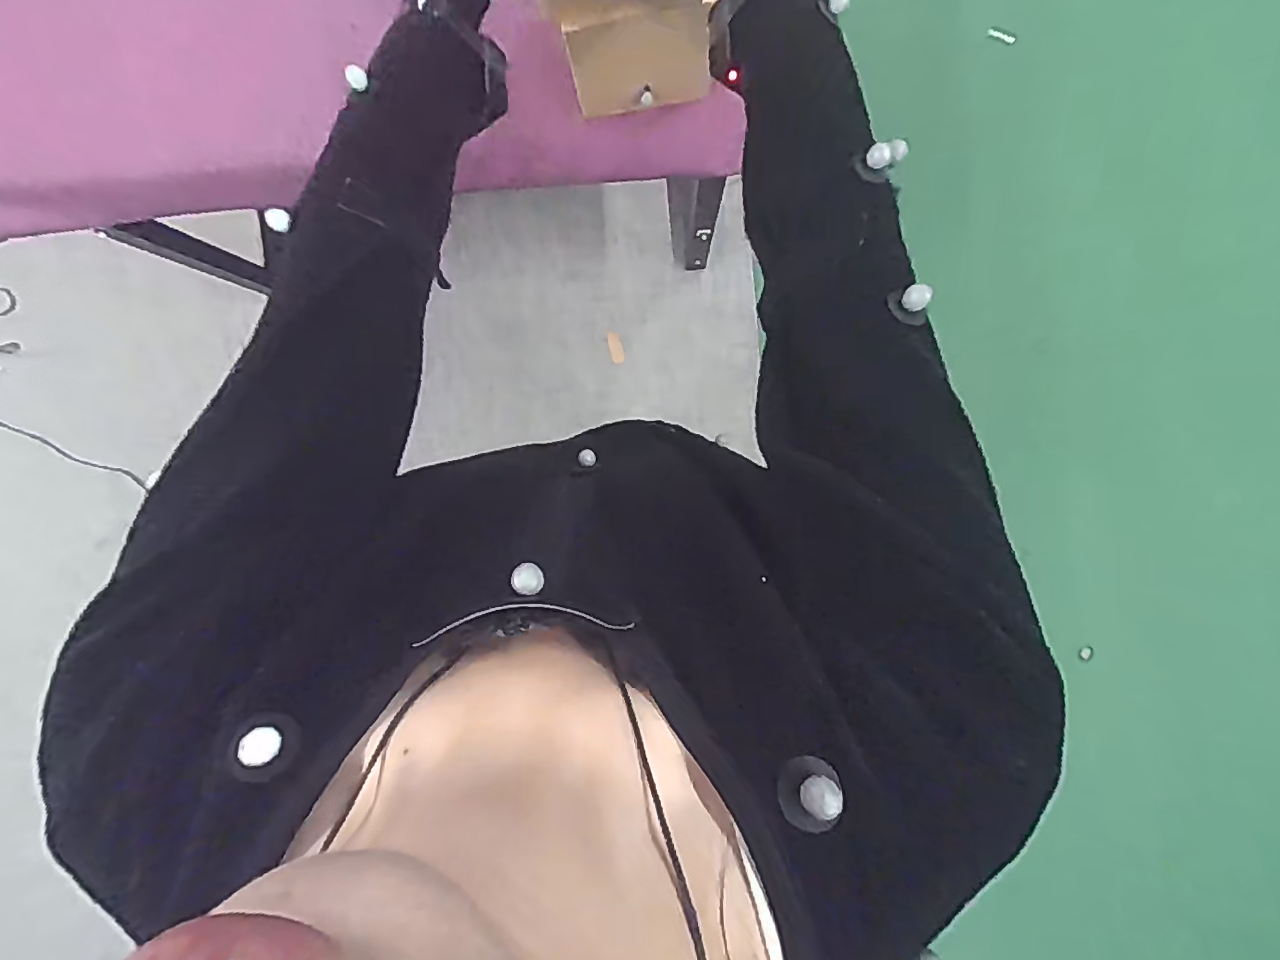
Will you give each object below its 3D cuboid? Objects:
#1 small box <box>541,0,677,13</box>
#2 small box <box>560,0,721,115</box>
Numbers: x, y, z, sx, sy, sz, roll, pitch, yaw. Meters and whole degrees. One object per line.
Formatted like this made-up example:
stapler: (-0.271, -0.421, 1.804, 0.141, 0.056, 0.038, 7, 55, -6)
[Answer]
small box: (-0.026, -0.579, 0.493, 0.179, 0.176, 0.168, -2, 95, 4)
small box: (-0.006, -0.584, 0.655, 0.179, 0.176, 0.168, -8, 94, 3)
